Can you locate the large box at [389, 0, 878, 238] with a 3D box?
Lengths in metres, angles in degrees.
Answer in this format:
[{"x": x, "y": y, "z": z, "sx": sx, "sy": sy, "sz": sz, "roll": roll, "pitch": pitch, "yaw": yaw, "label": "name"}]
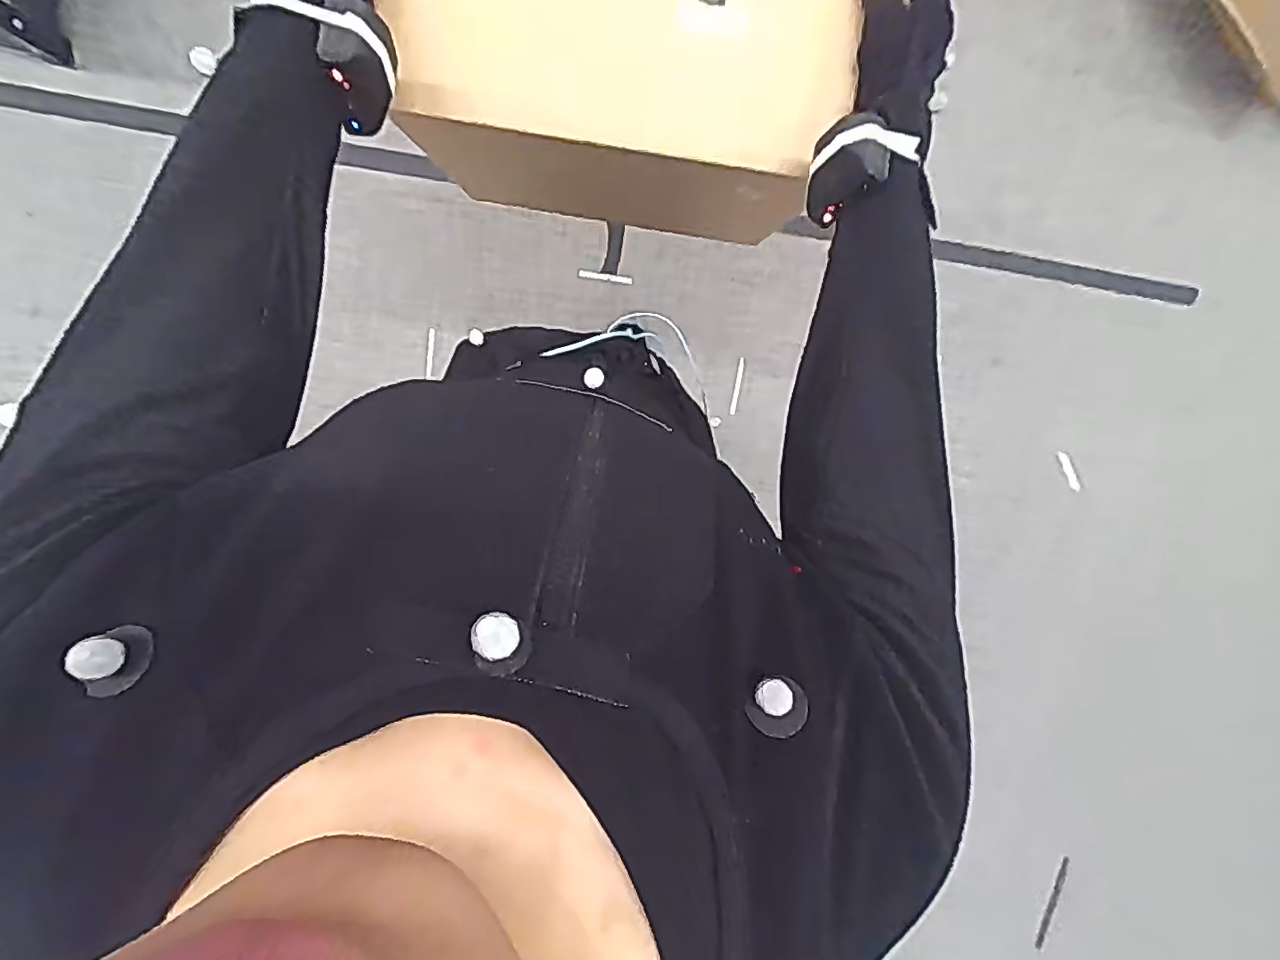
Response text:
[{"x": -0.003, "y": -0.476, "z": 0.575, "sx": 0.408, "sy": 0.320, "sz": 0.320, "roll": 8, "pitch": 105, "yaw": -5, "label": "large box"}]
